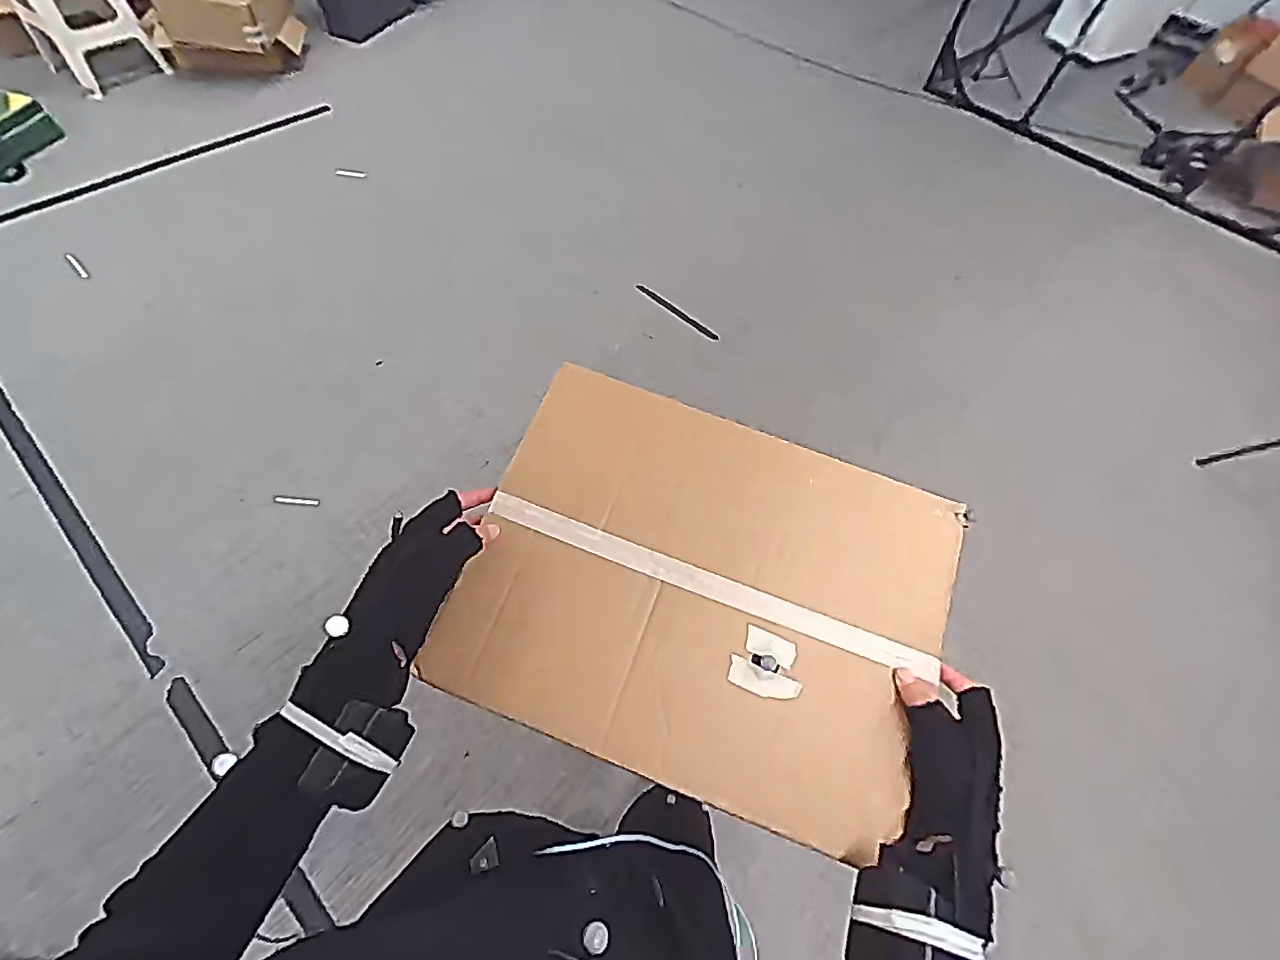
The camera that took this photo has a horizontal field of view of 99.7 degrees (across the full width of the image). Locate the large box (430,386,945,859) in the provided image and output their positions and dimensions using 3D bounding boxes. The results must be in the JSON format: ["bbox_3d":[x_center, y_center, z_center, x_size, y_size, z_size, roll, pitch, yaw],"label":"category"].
[{"bbox_3d":[0.050,0.151,0.626,0.408,0.320,0.320,21,71,5],"label":"large box"}]
